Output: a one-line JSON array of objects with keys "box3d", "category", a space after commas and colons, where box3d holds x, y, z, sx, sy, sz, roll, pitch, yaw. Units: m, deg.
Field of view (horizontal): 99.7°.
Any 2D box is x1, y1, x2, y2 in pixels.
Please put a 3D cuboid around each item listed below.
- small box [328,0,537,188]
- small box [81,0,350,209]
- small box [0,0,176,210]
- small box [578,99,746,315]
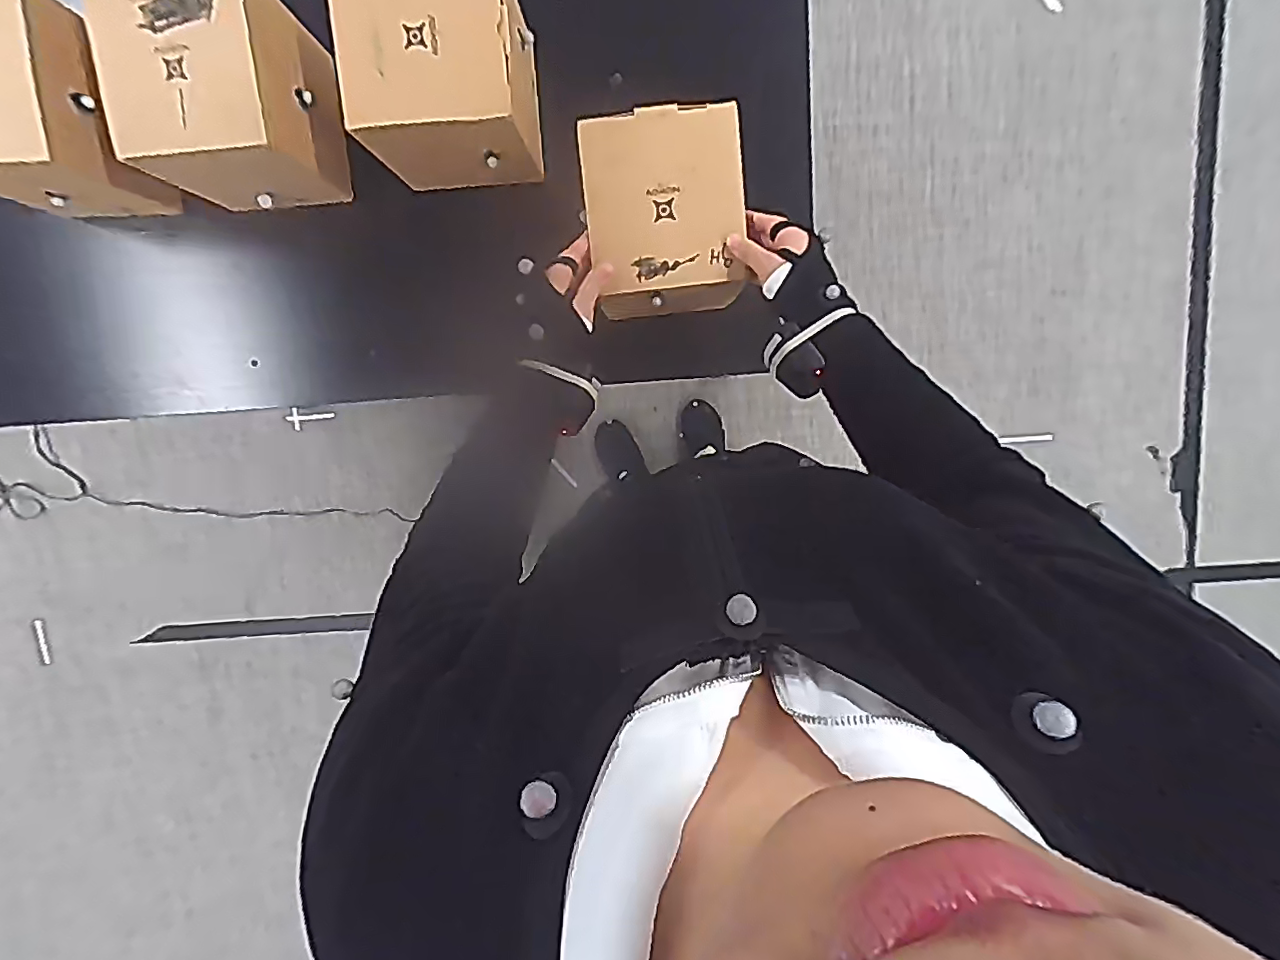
[{"box3d": [-0.220, -0.456, 0.619, 0.179, 0.176, 0.168, -4, 97, 2], "category": "small box"}, {"box3d": [-0.467, -0.437, 0.624, 0.168, 0.176, 0.179, -5, 100, 1], "category": "small box"}, {"box3d": [-0.692, -0.427, 0.628, 0.168, 0.176, 0.179, -1, 98, 1], "category": "small box"}, {"box3d": [0.025, -0.303, 0.637, 0.168, 0.176, 0.179, -5, 99, 3], "category": "small box"}]
